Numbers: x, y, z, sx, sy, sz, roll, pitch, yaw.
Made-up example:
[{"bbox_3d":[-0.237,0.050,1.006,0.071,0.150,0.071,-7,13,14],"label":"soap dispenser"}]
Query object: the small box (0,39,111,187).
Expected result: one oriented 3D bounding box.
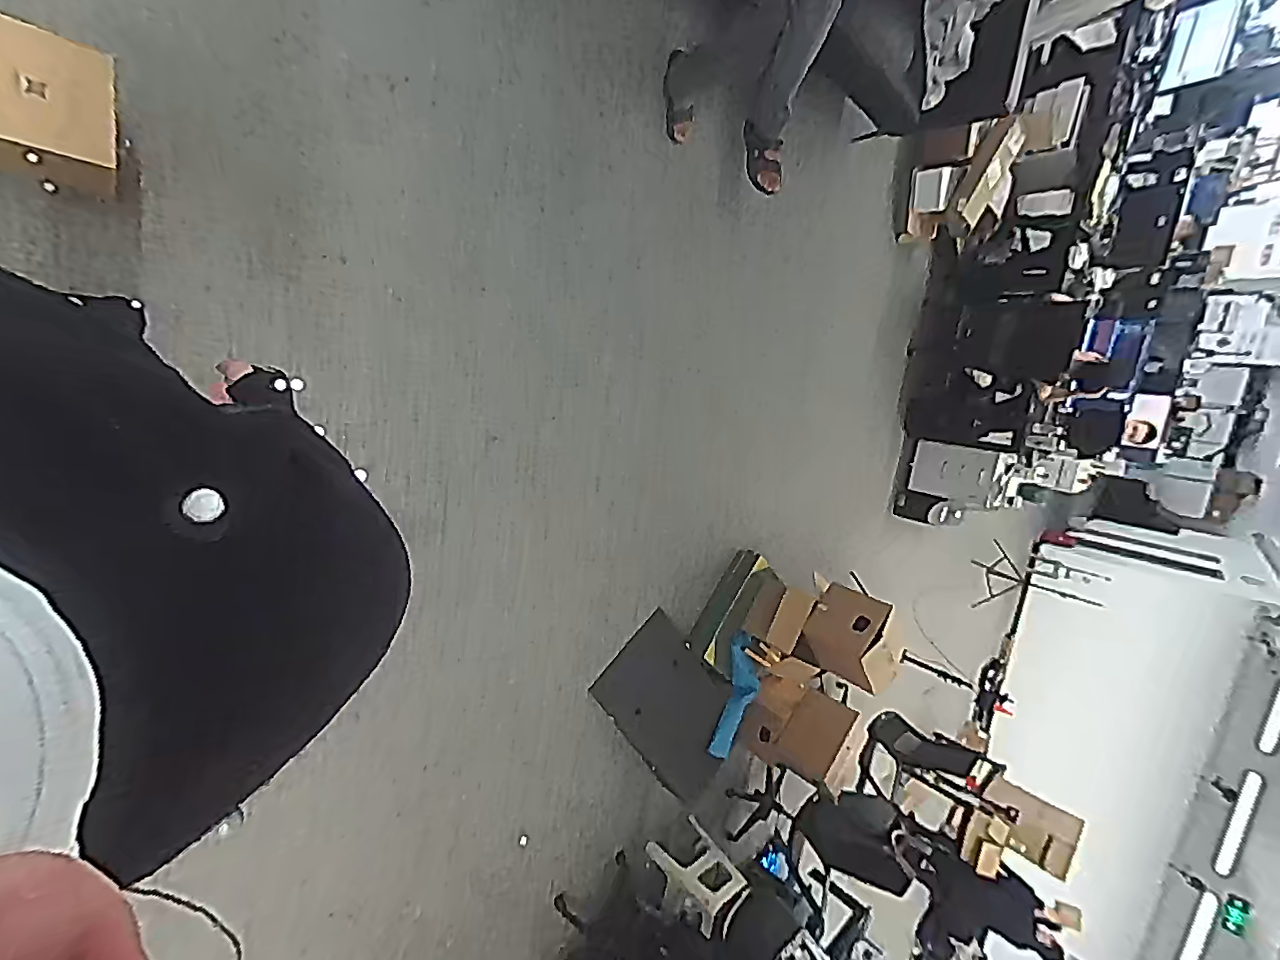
[{"bbox_3d":[-1.049,-0.632,0.942,0.179,0.176,0.168,0,102,-45],"label":"small box"}]
